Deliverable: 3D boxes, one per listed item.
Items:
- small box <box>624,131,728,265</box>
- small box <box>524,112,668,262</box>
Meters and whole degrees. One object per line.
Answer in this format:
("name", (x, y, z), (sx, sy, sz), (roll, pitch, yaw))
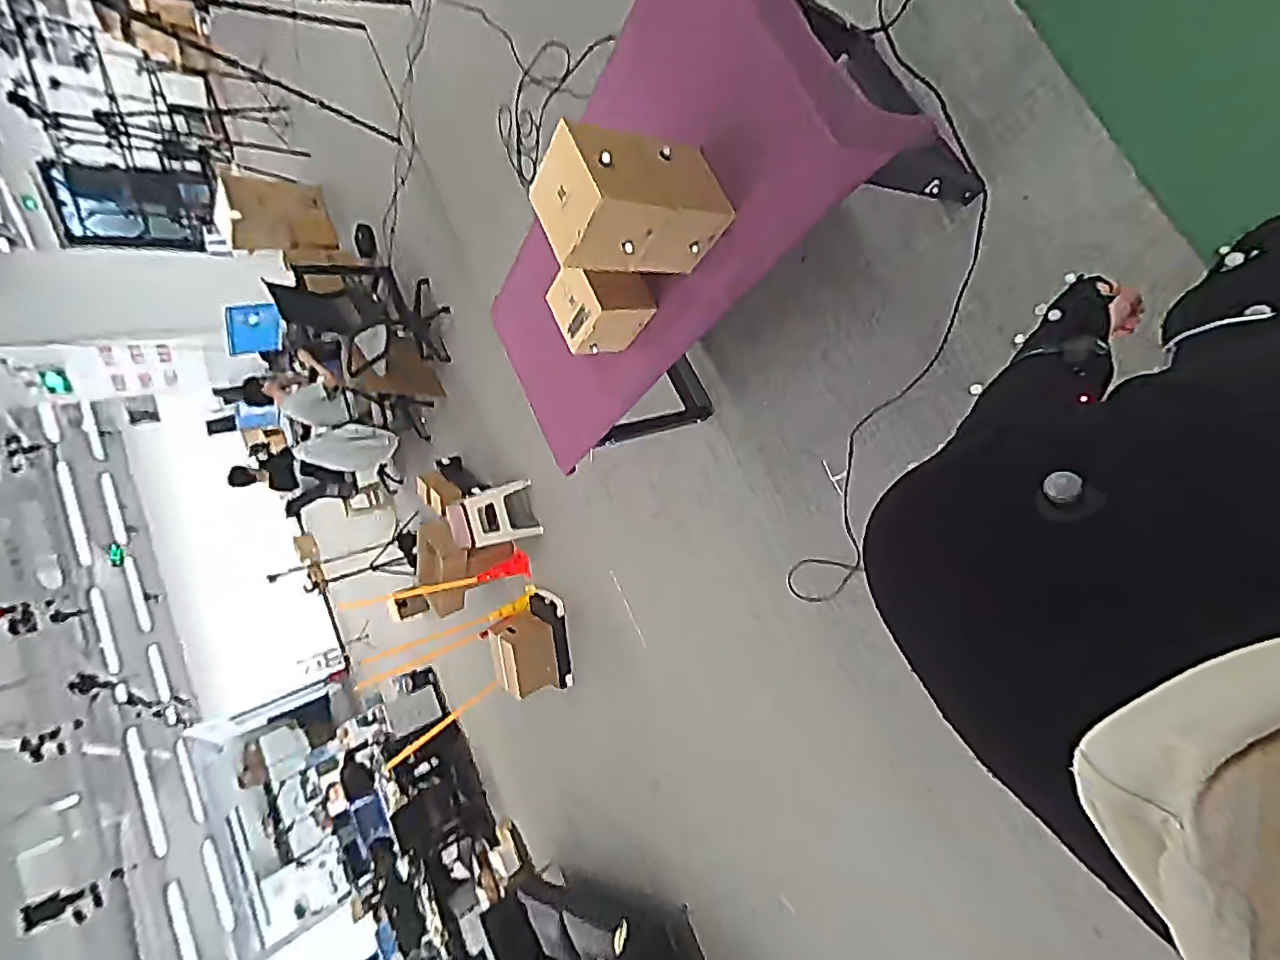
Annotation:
("small box", (0.043, -0.556, 1.093), (0.168, 0.176, 0.179), (-38, 74, 50))
("small box", (-0.081, -0.522, 0.993), (0.168, 0.176, 0.179), (-38, 74, 49))
